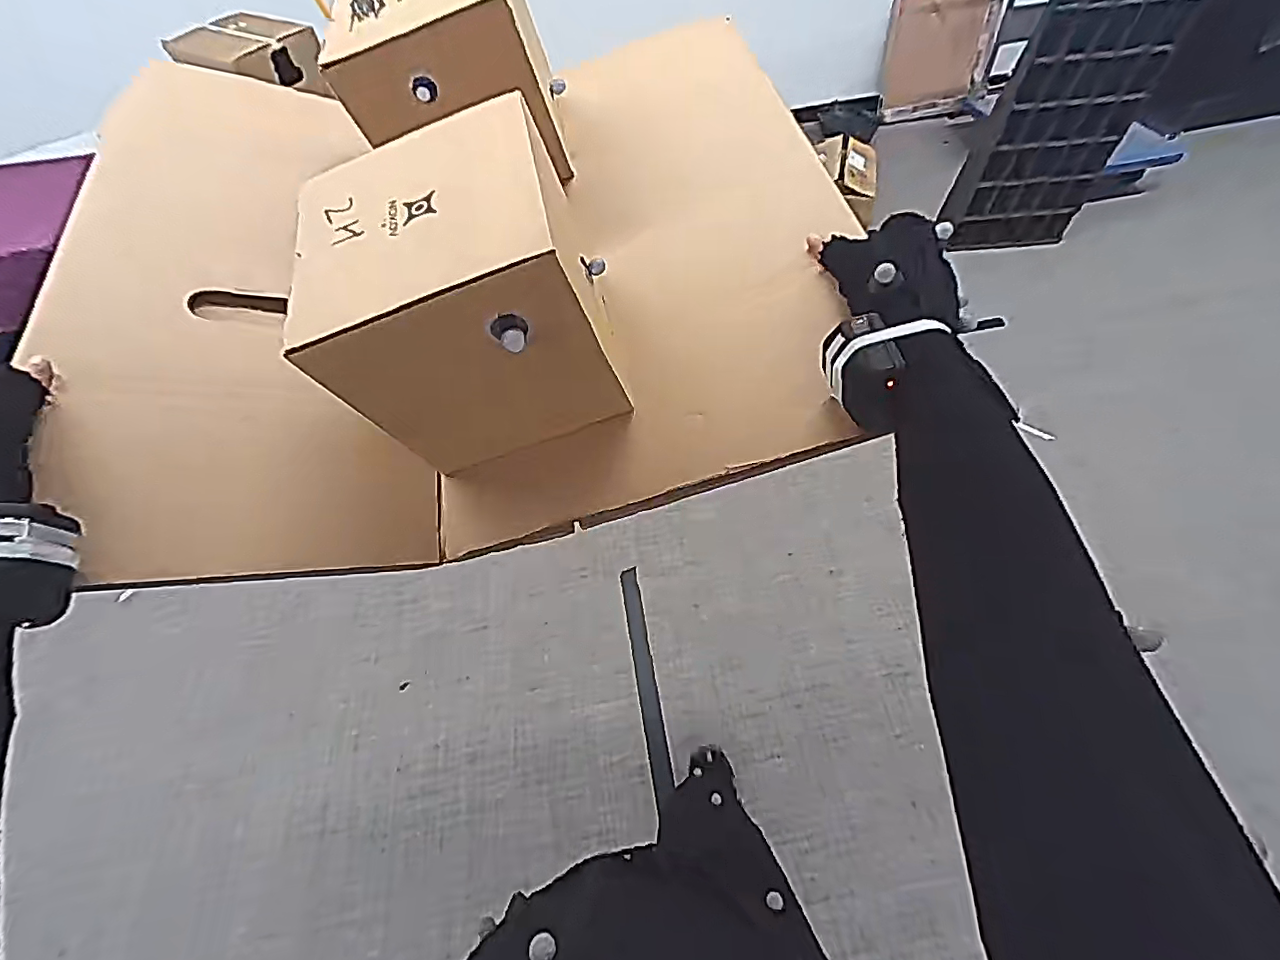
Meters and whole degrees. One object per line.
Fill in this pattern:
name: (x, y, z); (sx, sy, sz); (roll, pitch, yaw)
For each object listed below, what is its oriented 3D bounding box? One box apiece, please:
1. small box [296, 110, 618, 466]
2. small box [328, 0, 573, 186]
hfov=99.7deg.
small box: (-0.125, -0.134, 0.427); (0.179, 0.176, 0.168); (-18, 62, 8)
small box: (-0.187, -0.408, 0.573); (0.179, 0.176, 0.168); (-15, 63, 8)
